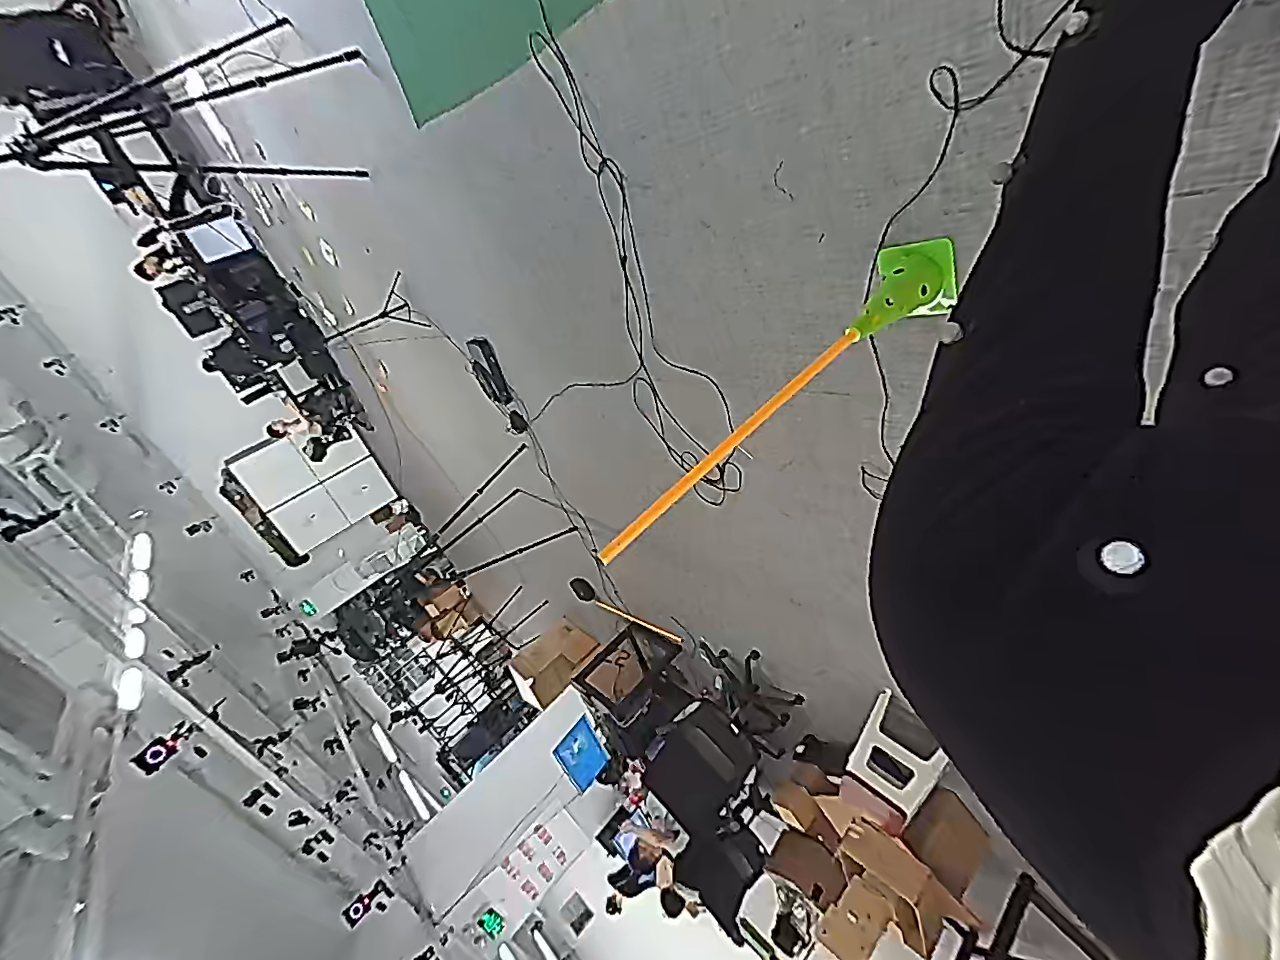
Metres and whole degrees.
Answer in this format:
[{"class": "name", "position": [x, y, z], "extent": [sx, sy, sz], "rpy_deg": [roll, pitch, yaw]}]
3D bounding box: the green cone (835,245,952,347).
[{"class": "green cone", "position": [0.632, -0.449, 1.422], "extent": [0.202, 0.368, 0.200], "rpy_deg": [14, 134, 51]}]
